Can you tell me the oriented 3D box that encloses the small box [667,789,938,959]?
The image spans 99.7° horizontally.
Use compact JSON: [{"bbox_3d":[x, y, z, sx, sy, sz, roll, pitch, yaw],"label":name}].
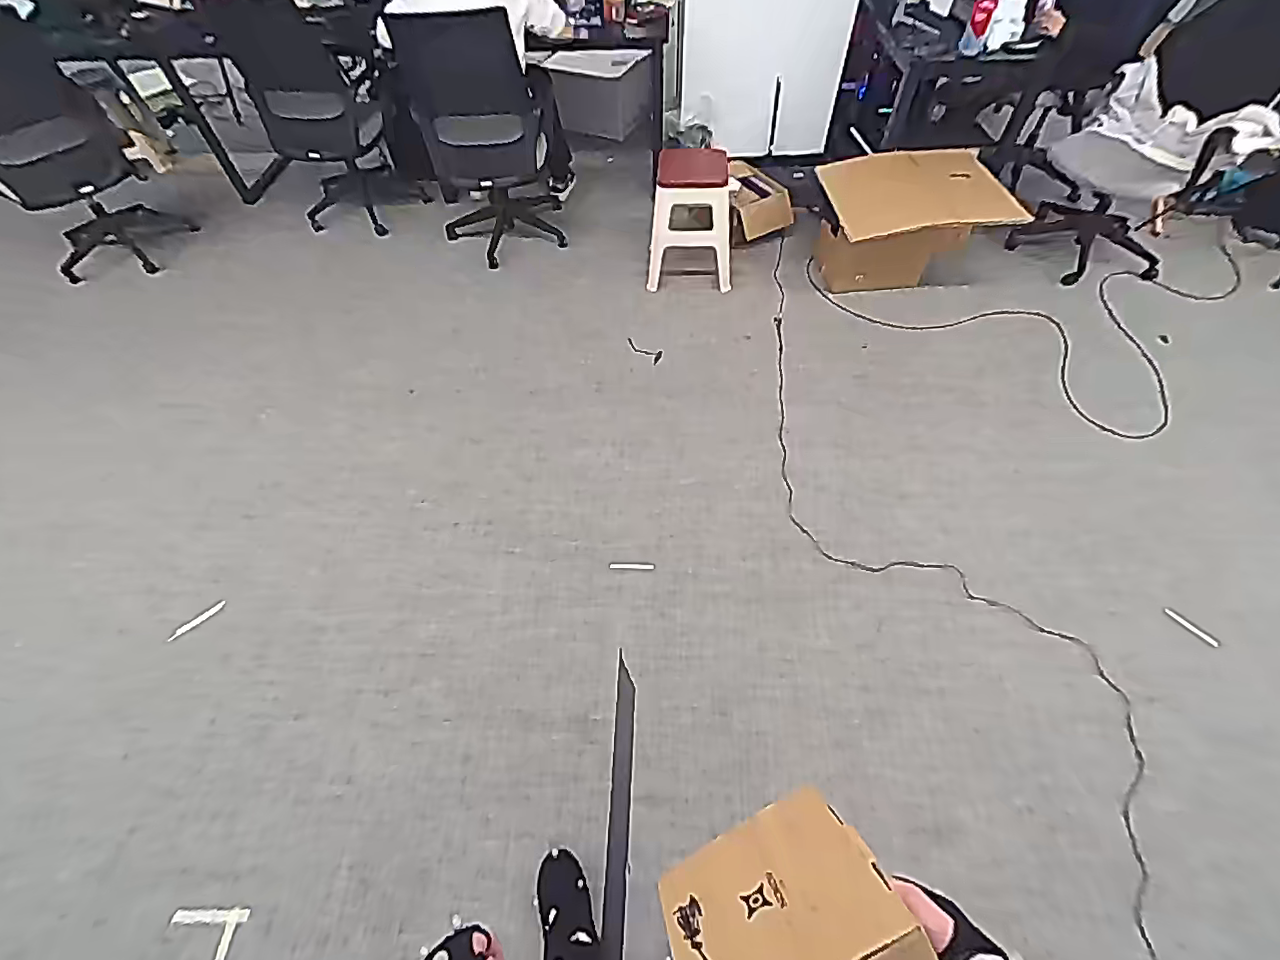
[{"bbox_3d":[0.146,0.417,0.456,0.179,0.168,0.176,-26,94,-6],"label":"small box"}]
